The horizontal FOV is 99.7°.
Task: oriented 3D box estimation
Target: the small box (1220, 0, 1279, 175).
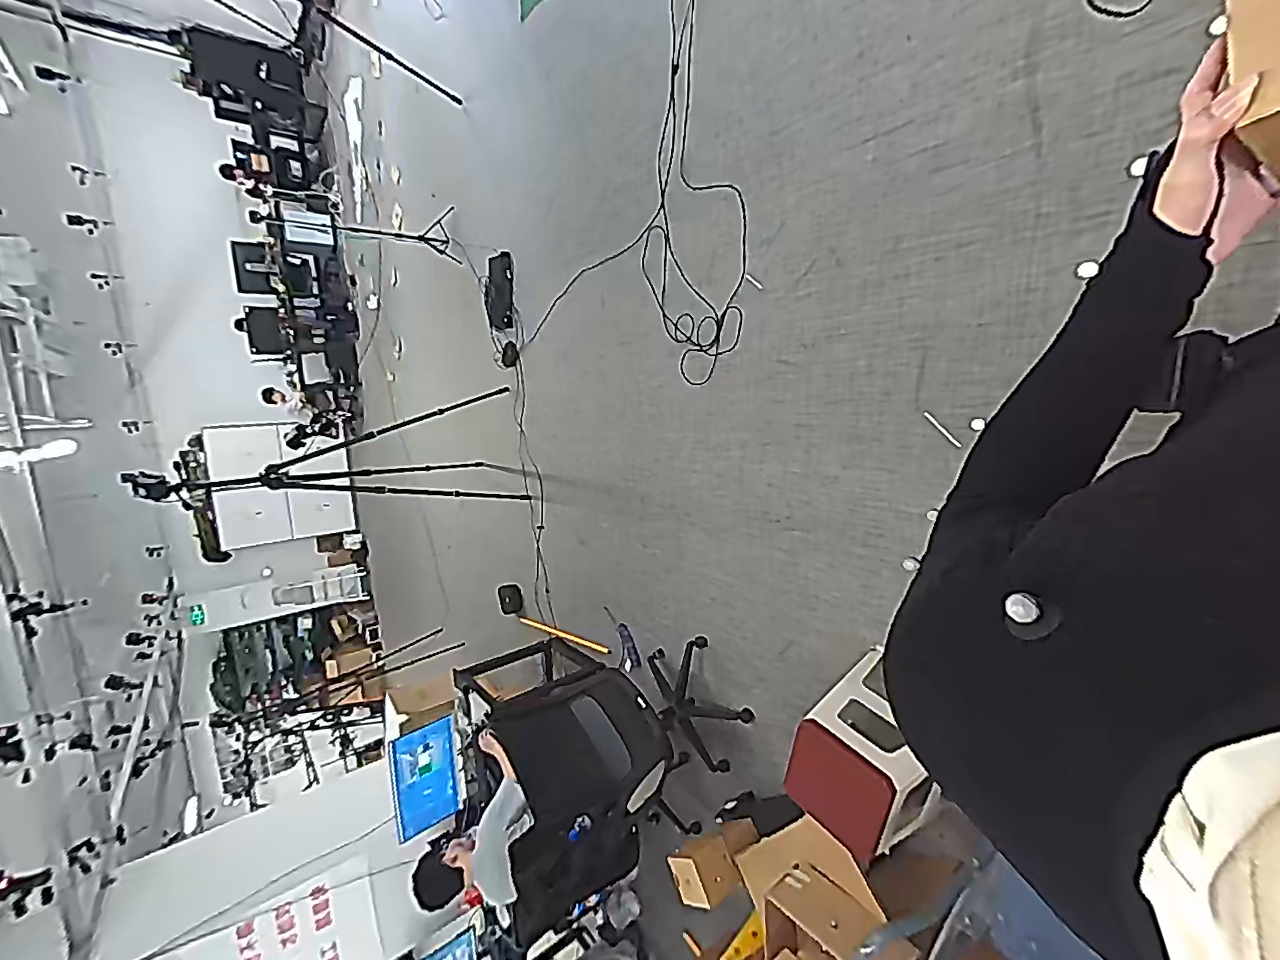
[{"bbox_3d":[0.495,-0.314,0.330,0.168,0.176,0.179,-2,87,60],"label":"small box"}]
